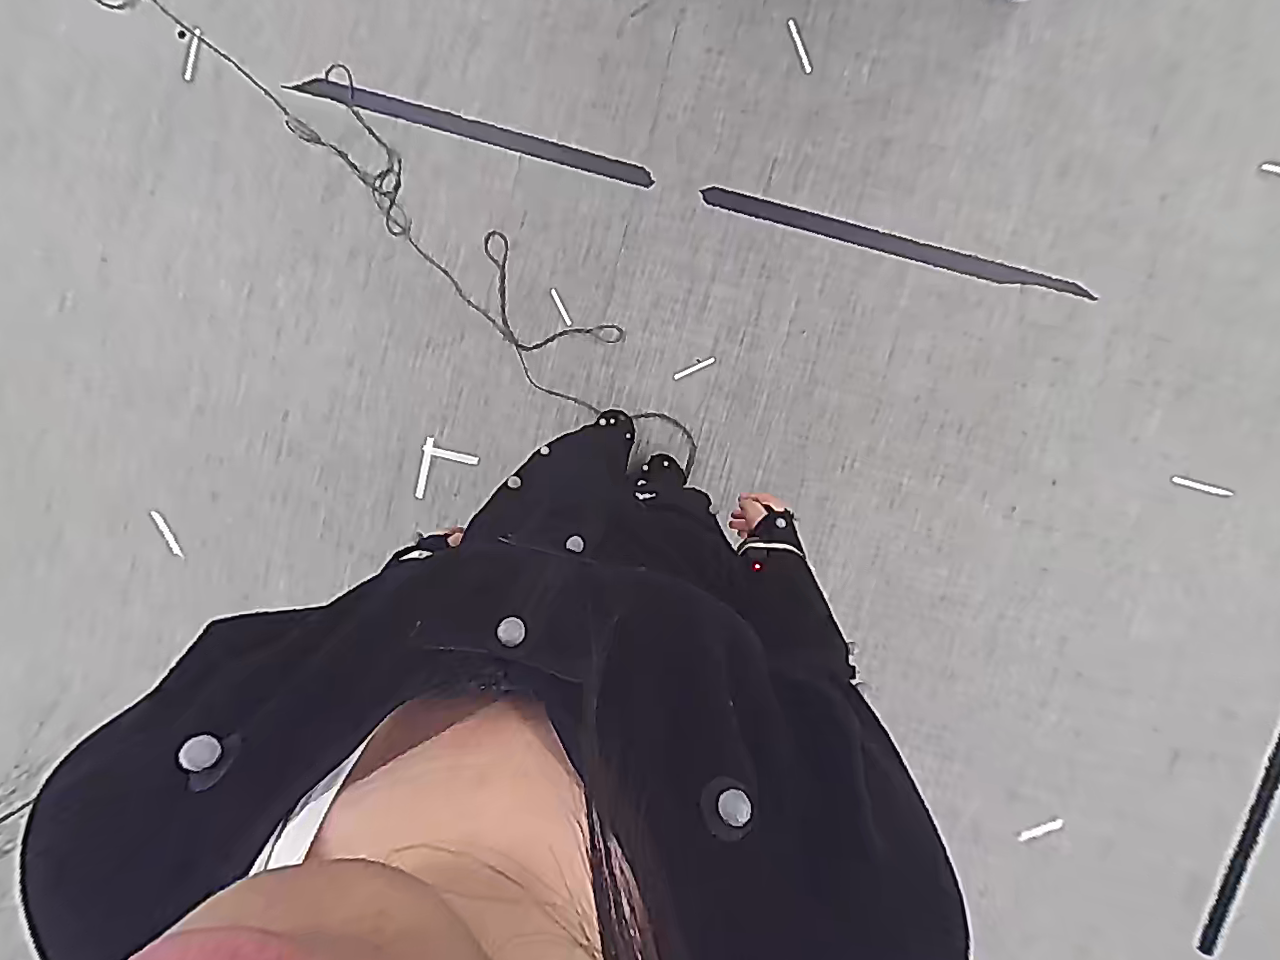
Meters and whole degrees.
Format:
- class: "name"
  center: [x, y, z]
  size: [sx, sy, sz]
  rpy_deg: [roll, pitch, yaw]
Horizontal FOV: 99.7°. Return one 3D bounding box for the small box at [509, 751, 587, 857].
- class: "small box"
  center: [-0.241, 0.860, 1.451]
  size: [0.168, 0.176, 0.179]
  rpy_deg: [9, 93, 2]
